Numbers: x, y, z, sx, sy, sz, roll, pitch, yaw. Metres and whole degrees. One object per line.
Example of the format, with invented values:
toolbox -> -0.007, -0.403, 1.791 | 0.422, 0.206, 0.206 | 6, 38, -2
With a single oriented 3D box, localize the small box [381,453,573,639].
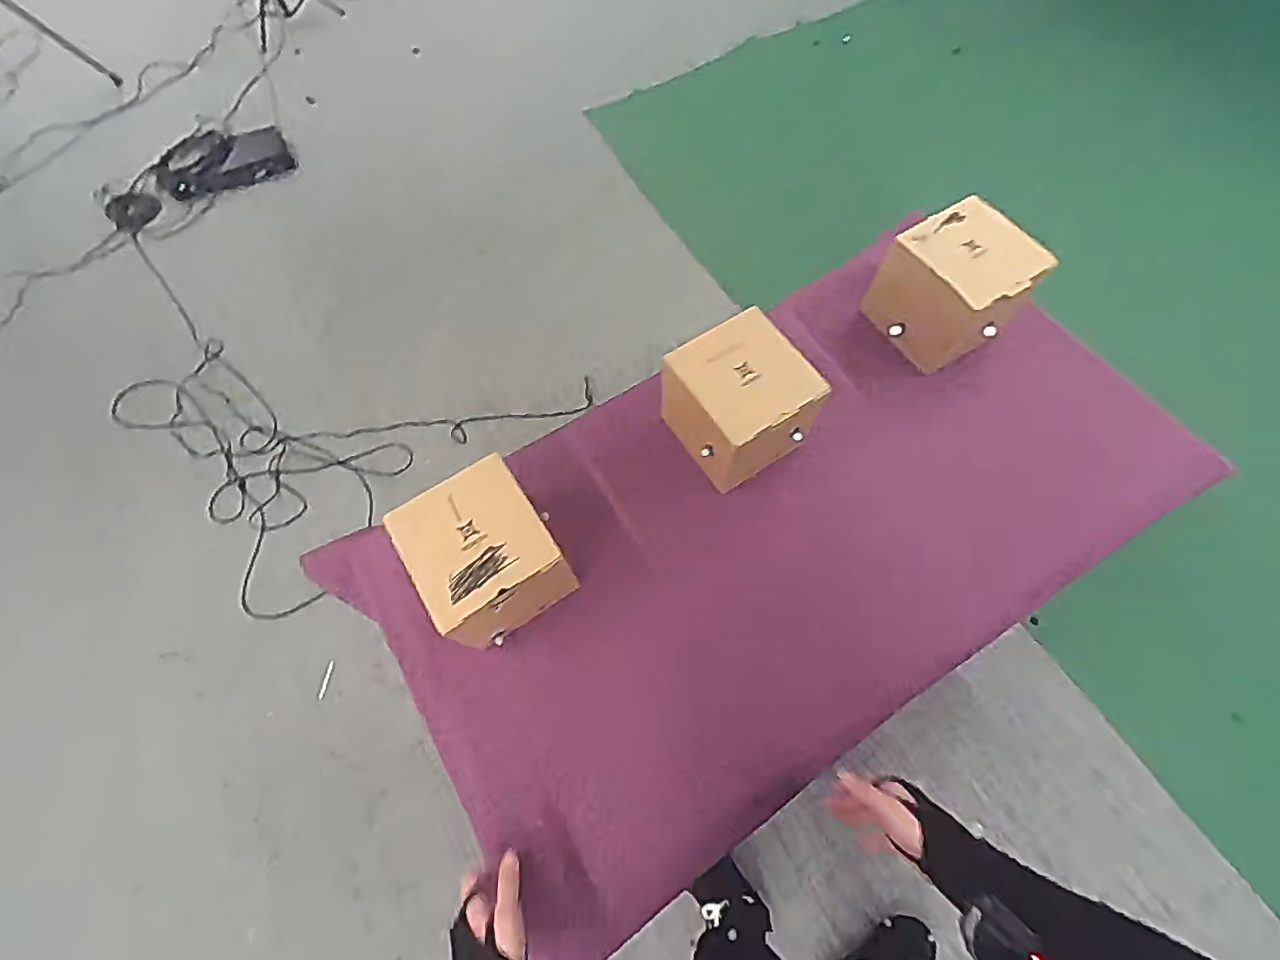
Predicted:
small box -> -0.209, 0.100, 0.740 | 0.168, 0.176, 0.179 | -33, 69, -11

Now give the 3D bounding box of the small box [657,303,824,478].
small box -> 0.142, -0.123, 0.821 | 0.168, 0.176, 0.179 | -32, 69, -11

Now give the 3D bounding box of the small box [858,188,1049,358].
small box -> 0.498, -0.327, 0.889 | 0.168, 0.176, 0.179 | -31, 70, -10
